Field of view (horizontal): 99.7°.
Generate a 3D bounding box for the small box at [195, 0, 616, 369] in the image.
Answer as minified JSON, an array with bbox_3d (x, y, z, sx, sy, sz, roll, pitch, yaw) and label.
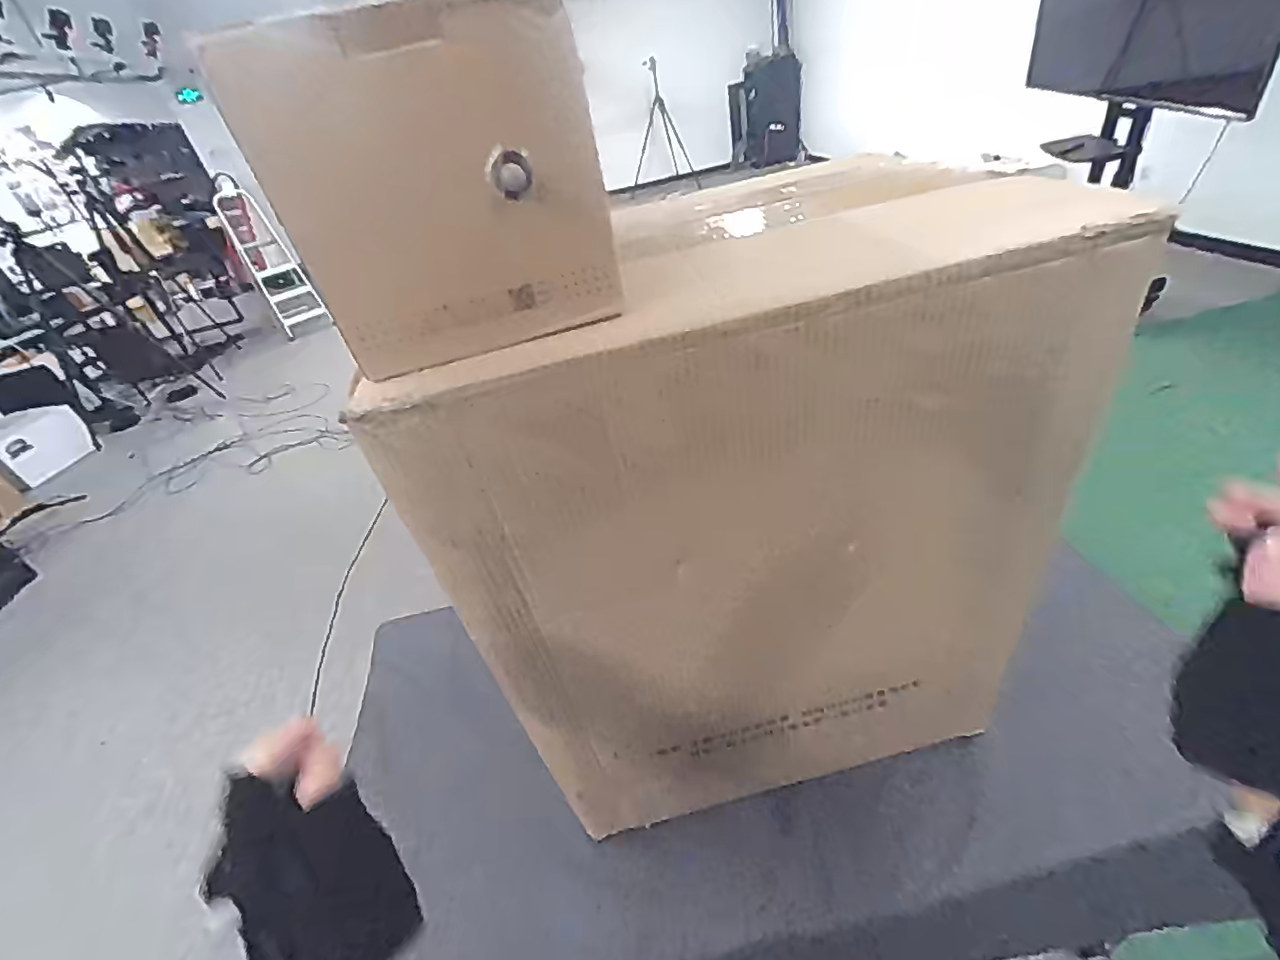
[{"bbox_3d":[-0.121,-0.187,0.353,0.168,0.176,0.179,-16,38,-5],"label":"small box"}]
